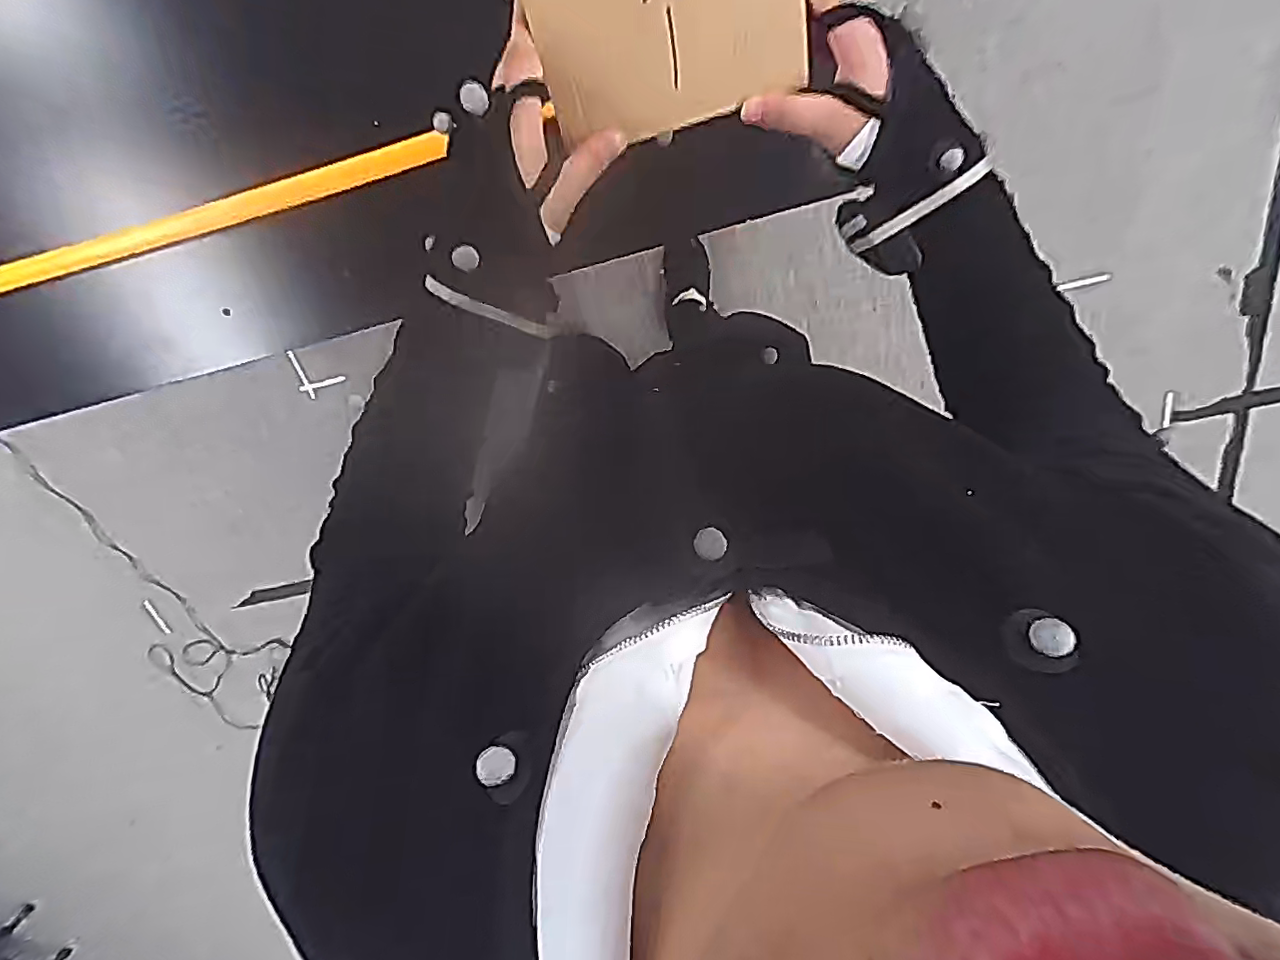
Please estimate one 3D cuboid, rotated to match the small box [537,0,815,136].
[{"bbox_3d":[0.007,-0.361,0.368,0.168,0.176,0.179,-14,127,6],"label":"small box"}]
